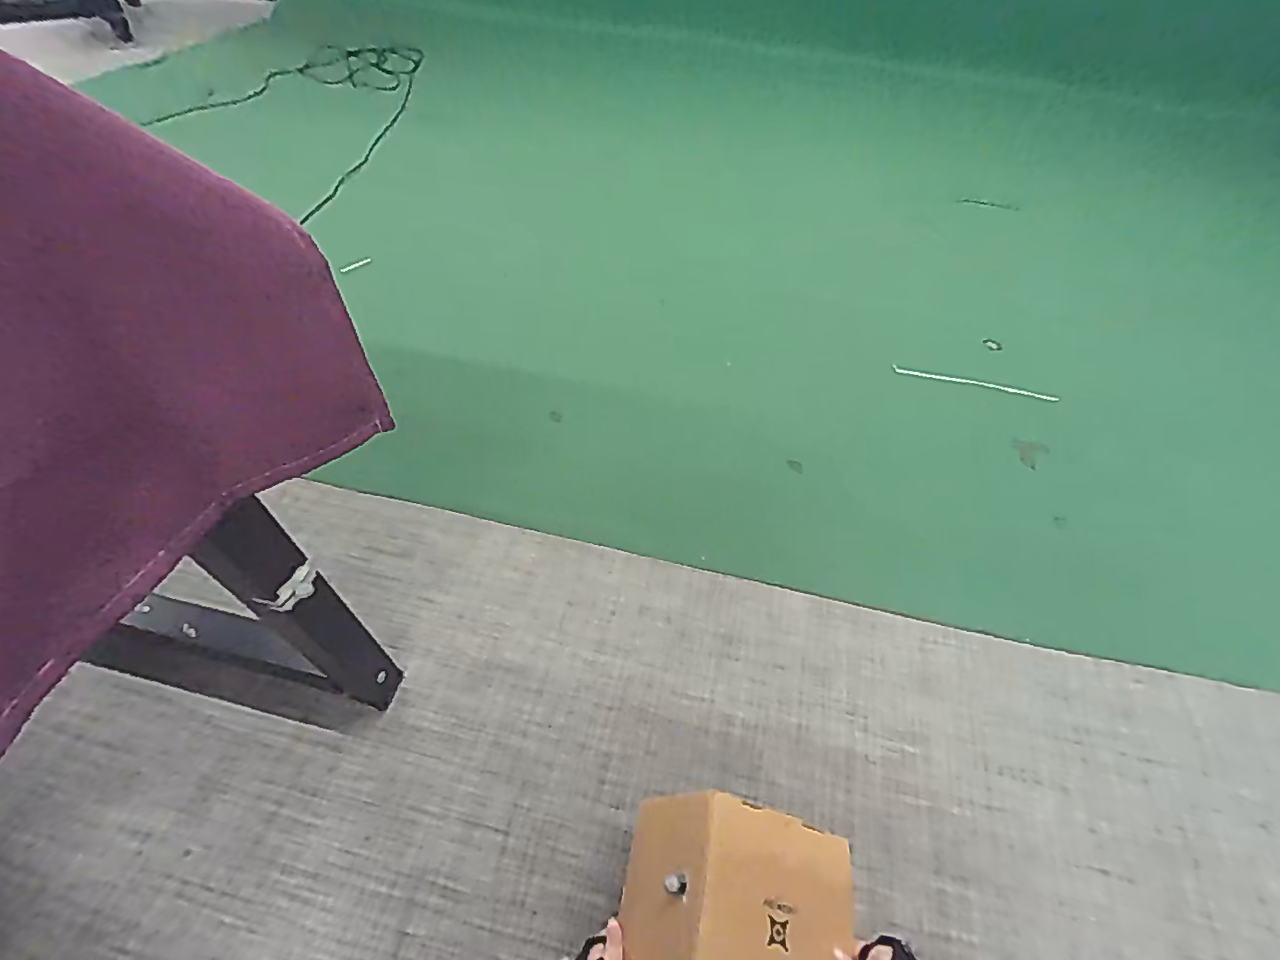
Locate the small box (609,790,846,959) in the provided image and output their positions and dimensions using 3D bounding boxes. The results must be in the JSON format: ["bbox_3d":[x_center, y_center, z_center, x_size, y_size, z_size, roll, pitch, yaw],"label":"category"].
[{"bbox_3d":[0.084,0.438,0.546,0.168,0.176,0.179,26,50,-13],"label":"small box"}]
